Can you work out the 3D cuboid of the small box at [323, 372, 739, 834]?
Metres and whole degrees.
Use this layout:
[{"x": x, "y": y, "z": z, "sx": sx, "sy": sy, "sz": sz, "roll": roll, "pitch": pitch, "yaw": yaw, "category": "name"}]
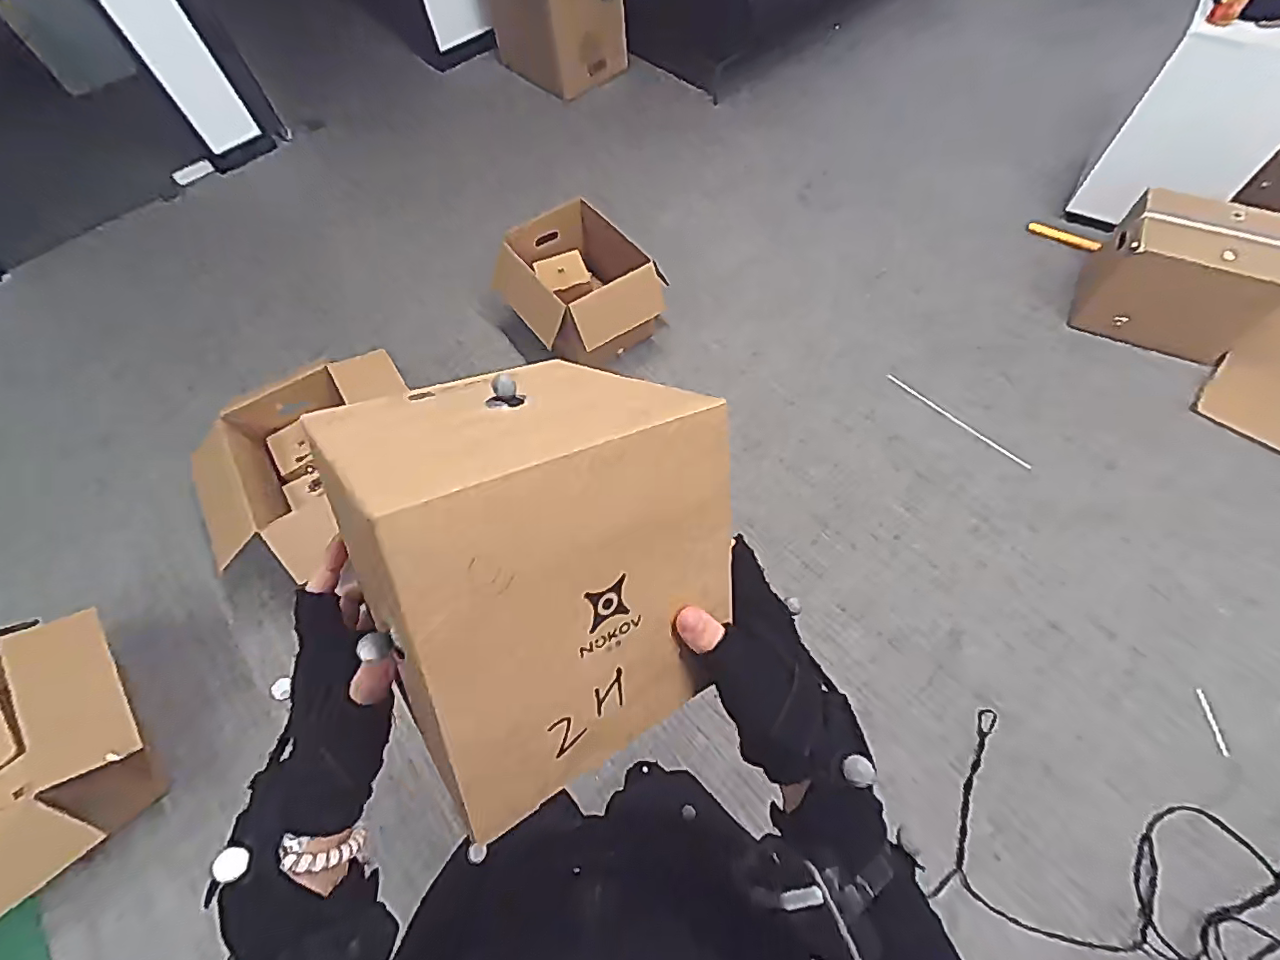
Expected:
[{"x": -0.061, "y": 0.038, "z": 0.313, "sx": 0.168, "sy": 0.179, "sz": 0.176, "roll": -20, "pitch": 27, "yaw": -33, "category": "small box"}]
